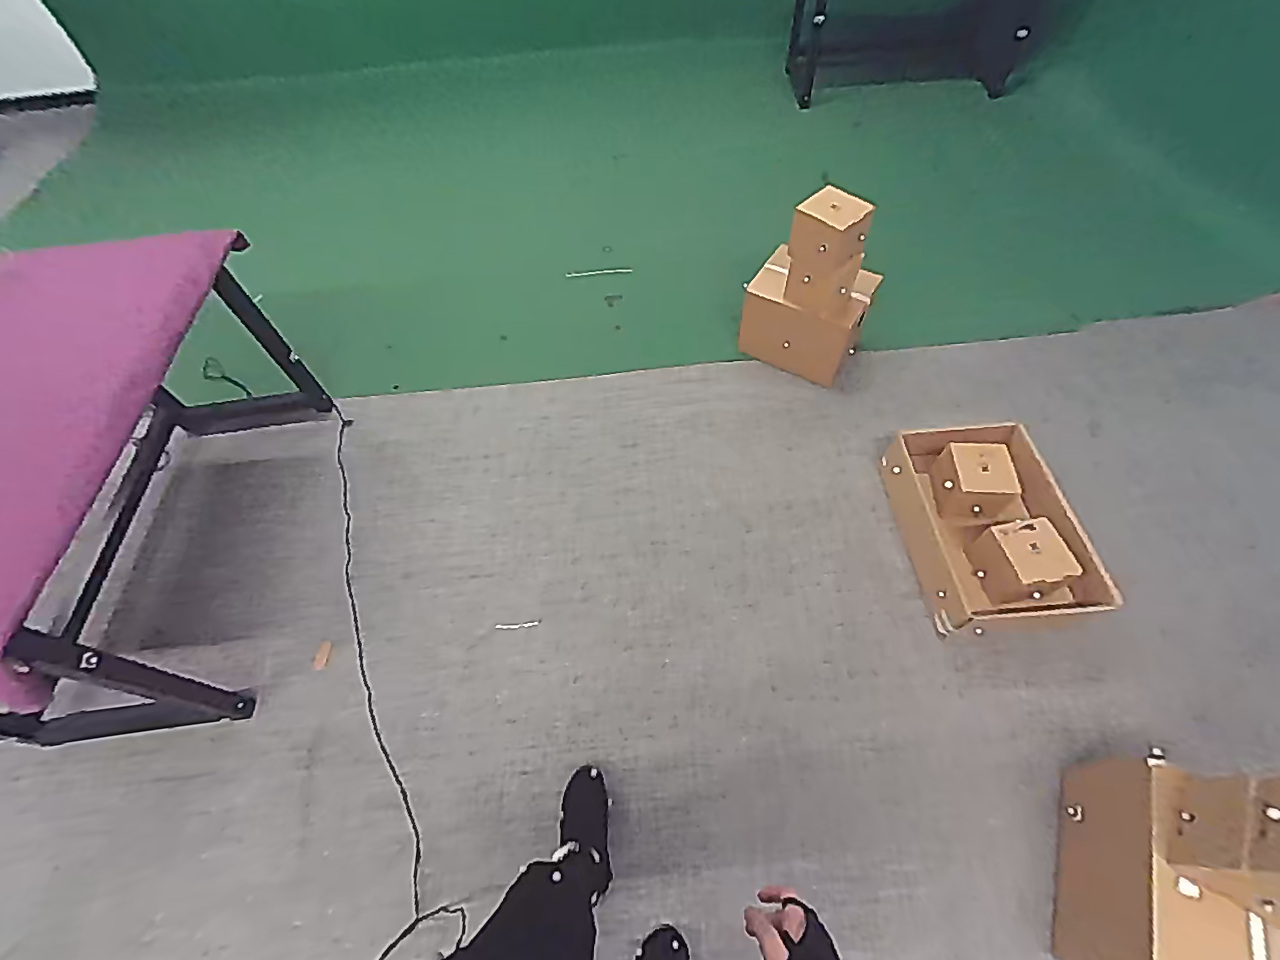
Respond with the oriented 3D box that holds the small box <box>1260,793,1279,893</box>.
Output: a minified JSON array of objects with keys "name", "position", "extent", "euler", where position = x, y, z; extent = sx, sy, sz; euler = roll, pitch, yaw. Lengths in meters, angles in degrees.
[{"name":"small box","position":[1.076,0.566,0.773],"extent":[0.179,0.176,0.168],"euler":[30,64,23]}]

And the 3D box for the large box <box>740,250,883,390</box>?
[{"name":"large box","position":[0.639,-0.607,2.059],"extent":[0.408,0.320,0.320],"euler":[27,62,20]}]

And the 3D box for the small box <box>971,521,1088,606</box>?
[{"name":"small box","position":[1.065,0.238,1.495],"extent":[0.168,0.176,0.179],"euler":[-9,57,-1]}]

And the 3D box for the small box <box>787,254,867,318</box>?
[{"name":"small box","position":[0.620,-0.673,1.813],"extent":[0.179,0.176,0.168],"euler":[39,69,25]}]

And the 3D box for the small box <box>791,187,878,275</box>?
[{"name":"small box","position":[0.596,-0.766,1.680],"extent":[0.168,0.176,0.179],"euler":[-38,62,-18]}]
